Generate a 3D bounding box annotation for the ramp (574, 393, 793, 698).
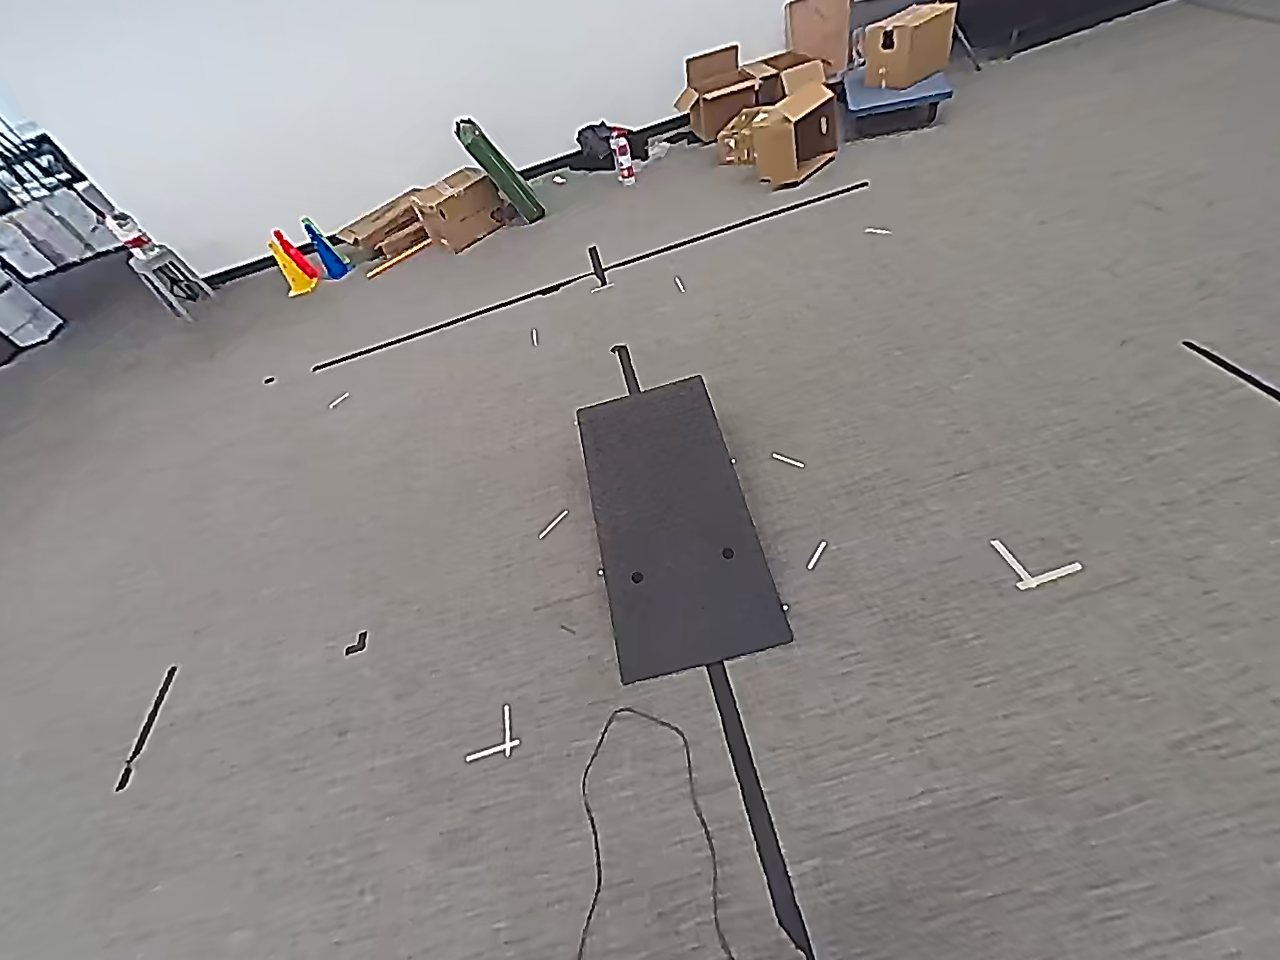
[{"bbox_3d":[0.089,0.143,1.771,0.509,0.206,0.991,-18,46,1],"label":"ramp"}]
